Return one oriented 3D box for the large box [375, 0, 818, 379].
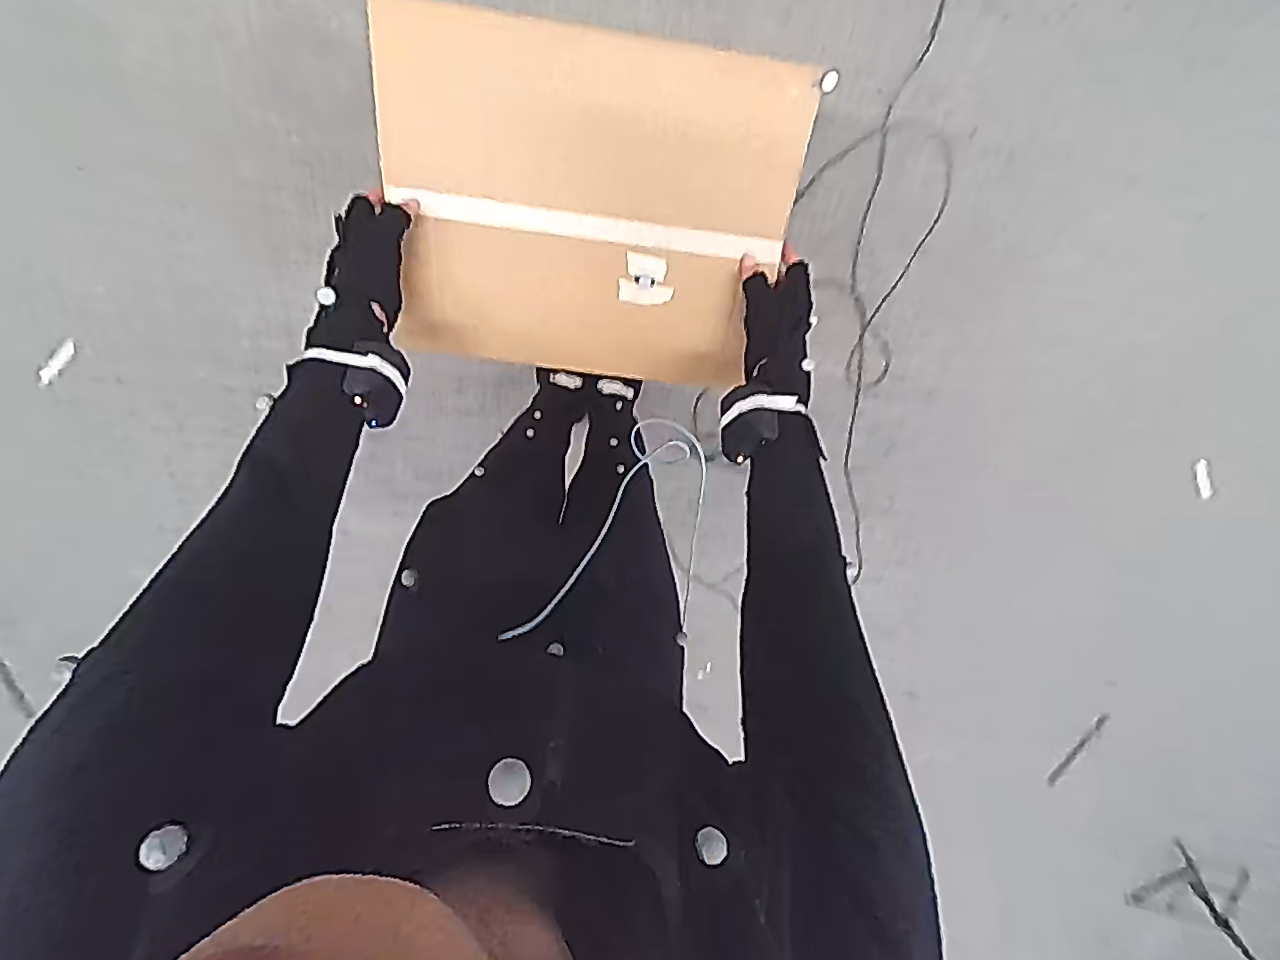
[{"bbox_3d":[-0.054,-0.342,0.680,0.408,0.320,0.320,6,121,-4],"label":"large box"}]
